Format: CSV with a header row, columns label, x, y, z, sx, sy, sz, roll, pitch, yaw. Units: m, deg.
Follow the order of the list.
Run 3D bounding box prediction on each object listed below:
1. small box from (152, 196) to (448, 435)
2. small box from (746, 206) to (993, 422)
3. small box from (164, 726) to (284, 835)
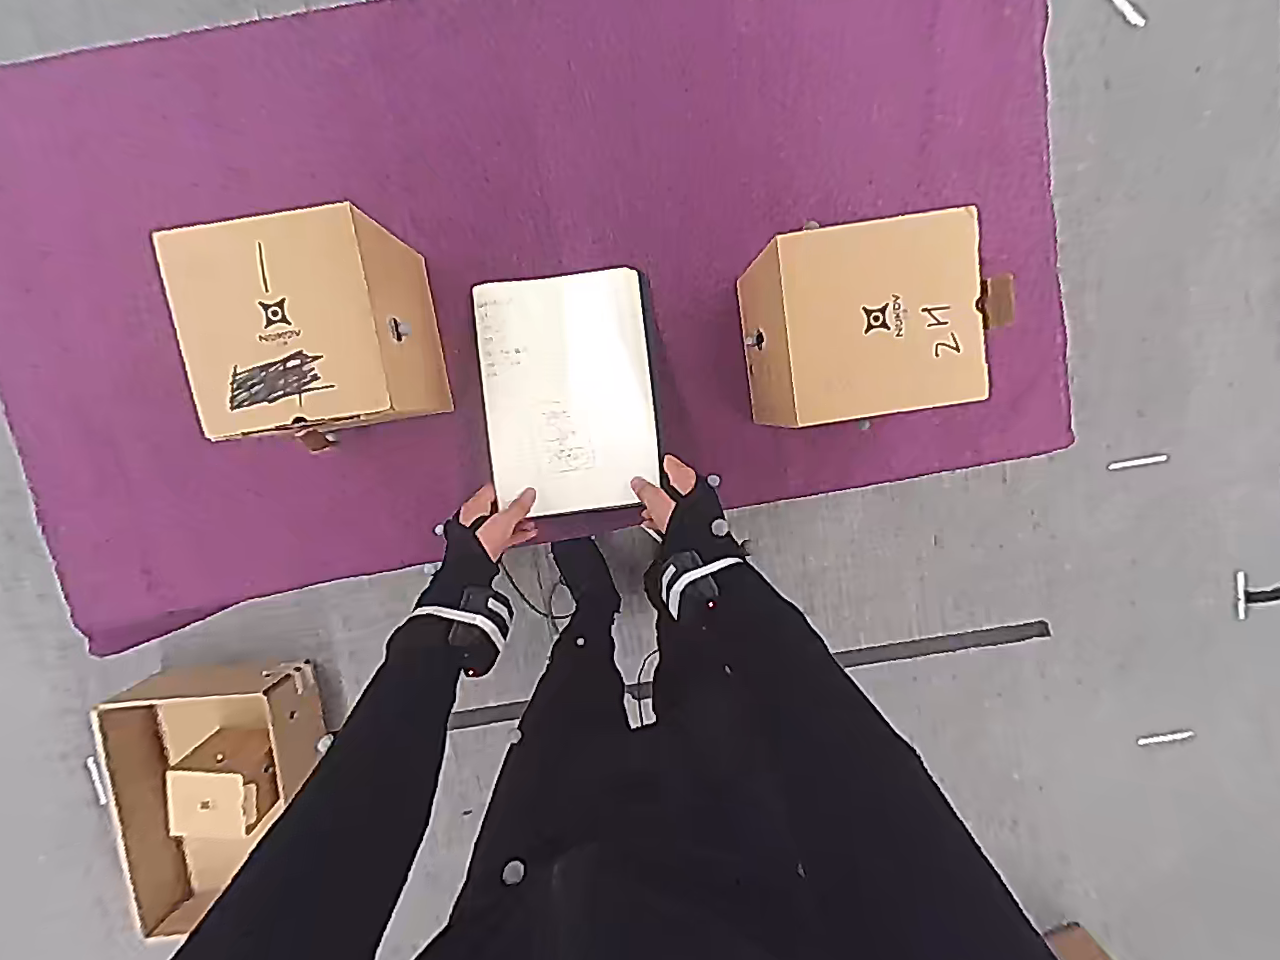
label,x,y,z,sx,sy,sz,roll,pitch,yaw
small box,-0.304,-0.145,0.527,0.168,0.176,0.179,-9,97,-1
small box,0.209,-0.148,0.539,0.179,0.176,0.168,-8,98,-1
small box,-0.995,0.719,1.309,0.179,0.176,0.168,5,98,-2
